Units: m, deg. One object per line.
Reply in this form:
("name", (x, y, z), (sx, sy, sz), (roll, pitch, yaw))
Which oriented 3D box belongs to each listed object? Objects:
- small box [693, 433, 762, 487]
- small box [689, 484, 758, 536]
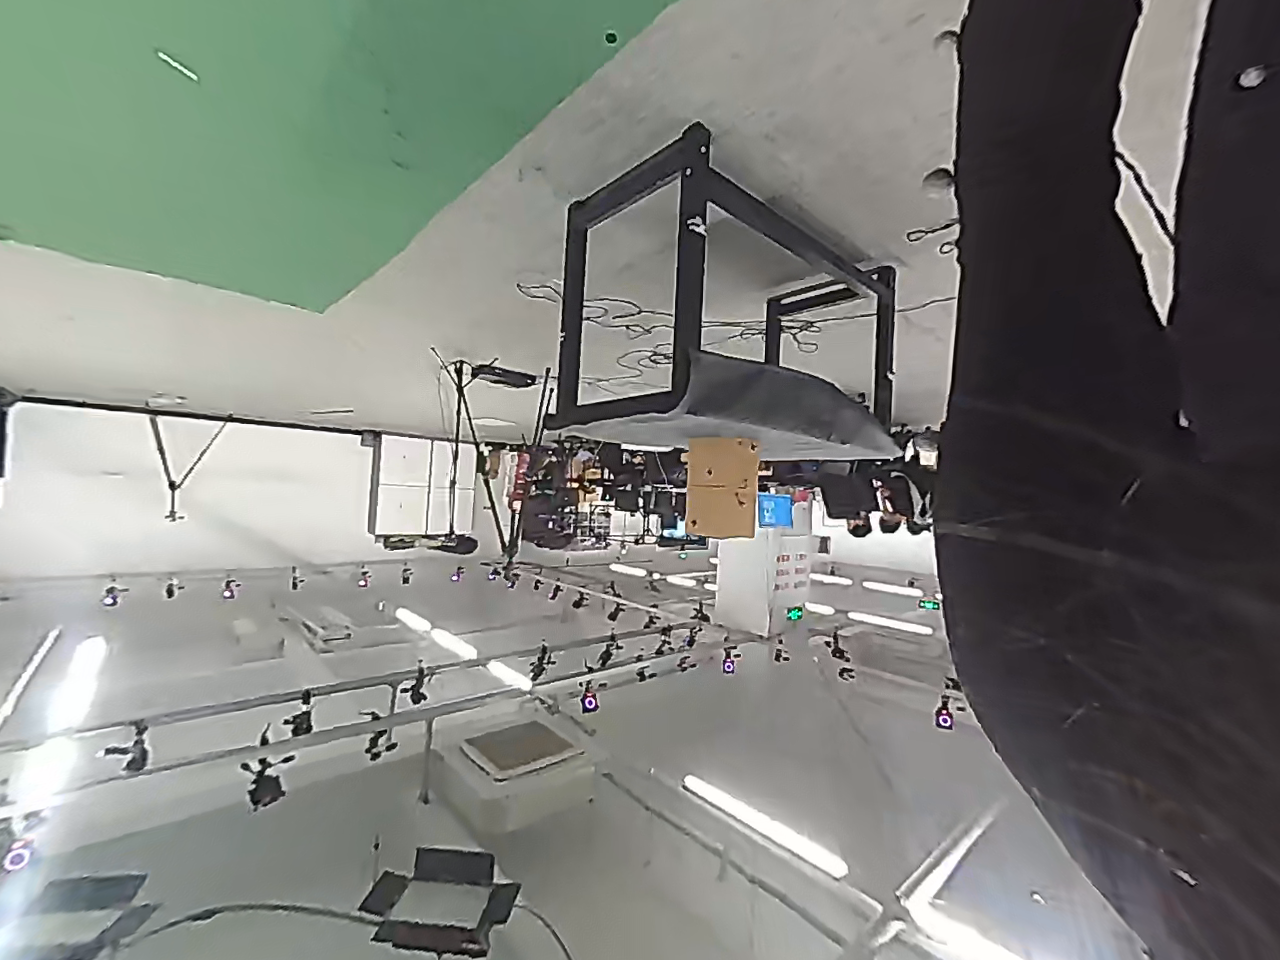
("small box", (0.295, -0.066, 1.819), (0.168, 0.176, 0.179), (4, 179, -40))
("small box", (0.287, 0.098, 1.834), (0.168, 0.176, 0.179), (3, 178, -39))
